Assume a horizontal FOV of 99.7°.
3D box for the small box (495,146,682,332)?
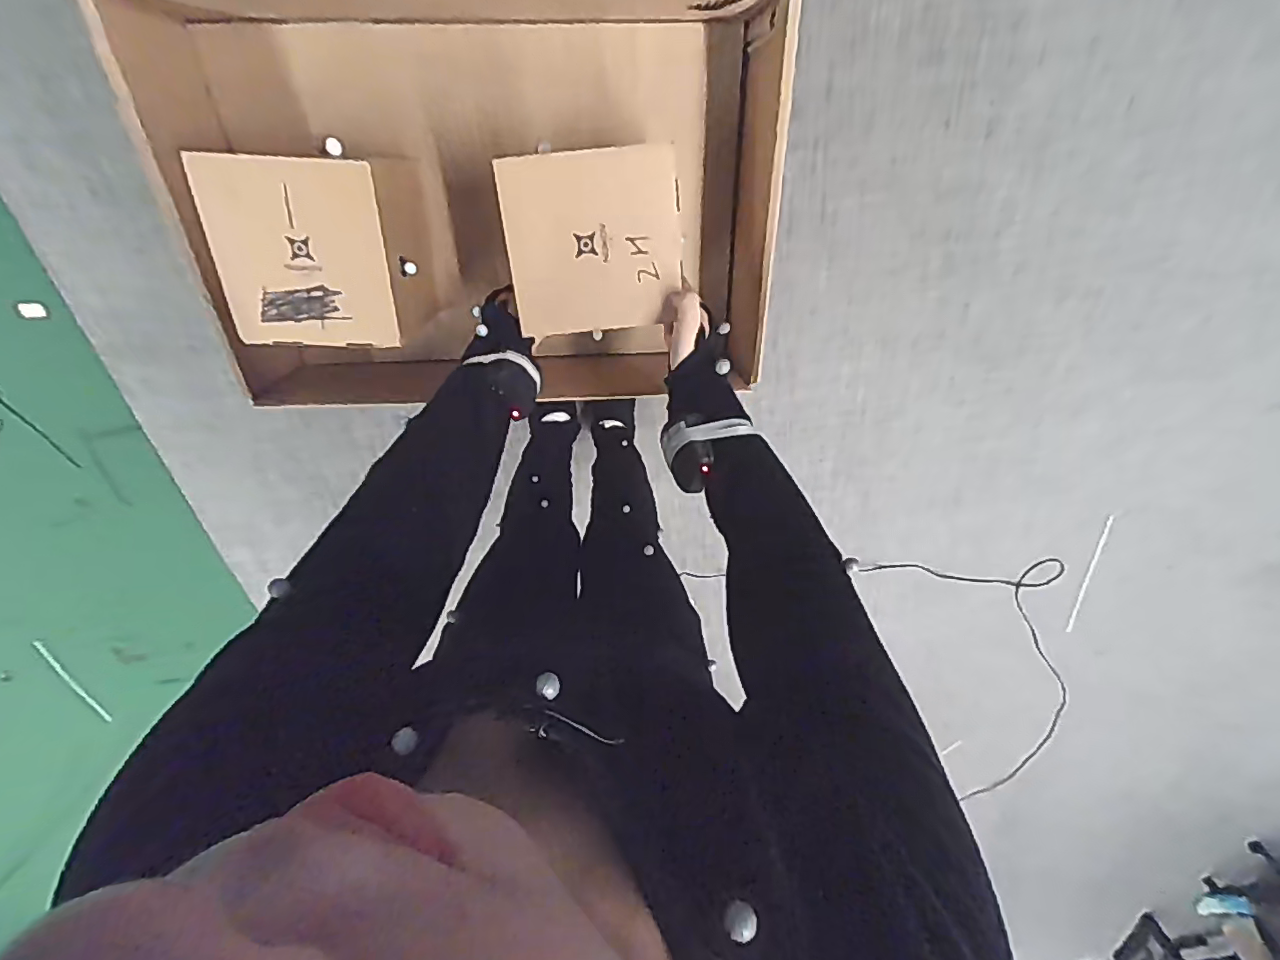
[{"bbox_3d":[-0.049,-0.267,0.612,0.179,0.176,0.168,-5,115,-1],"label":"small box"}]
